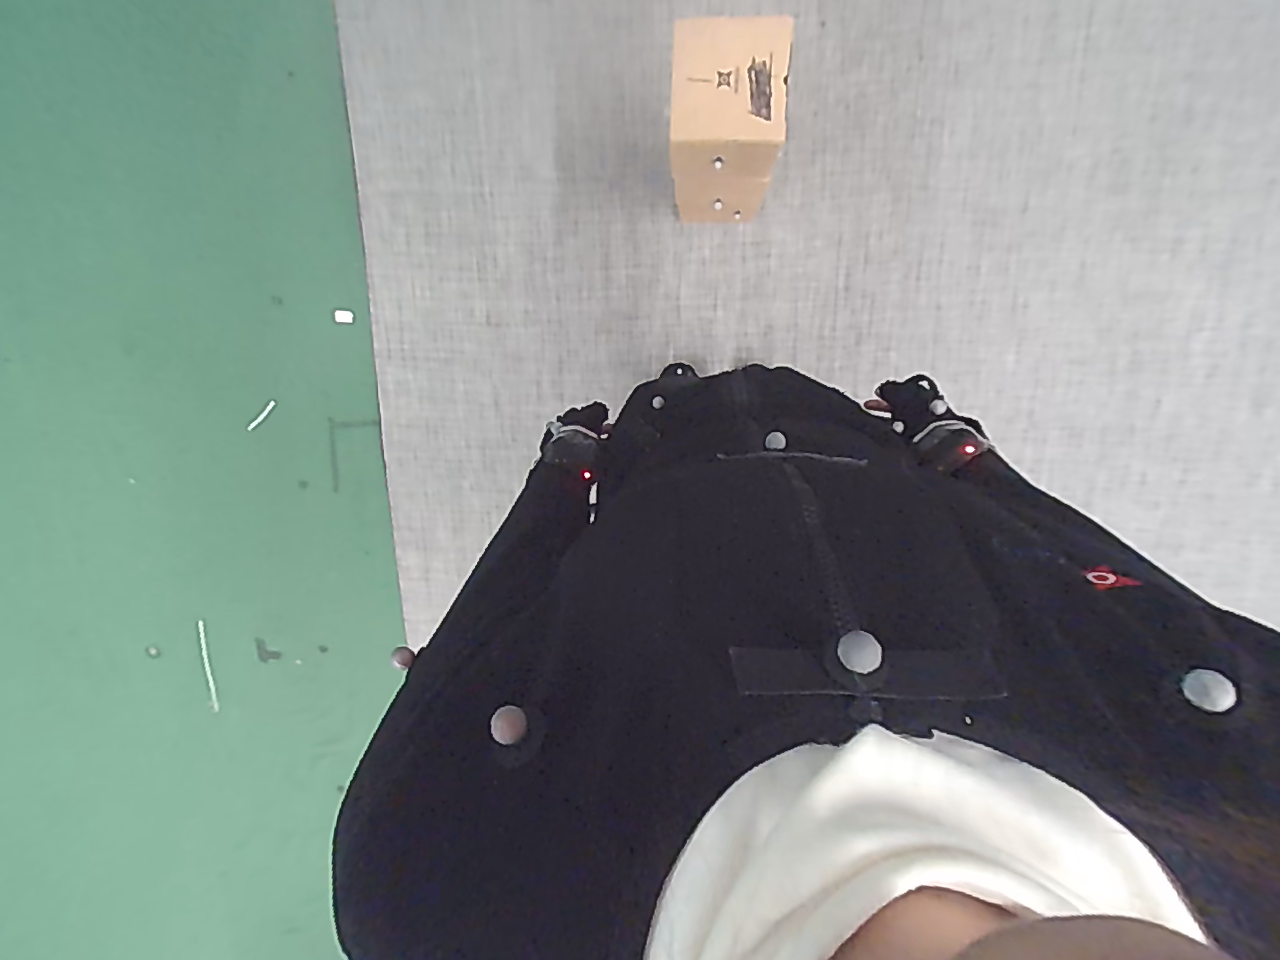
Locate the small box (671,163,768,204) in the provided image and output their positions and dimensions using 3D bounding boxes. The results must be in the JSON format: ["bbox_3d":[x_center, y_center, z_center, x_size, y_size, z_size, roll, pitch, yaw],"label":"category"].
[{"bbox_3d":[0.154,-0.646,1.044,0.179,0.176,0.168,5,103,3],"label":"small box"}]

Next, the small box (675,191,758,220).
[{"bbox_3d":[0.168,-0.688,1.202,0.179,0.176,0.168,2,102,6],"label":"small box"}]

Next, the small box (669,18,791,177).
[{"bbox_3d":[0.137,-0.612,0.884,0.179,0.176,0.168,0,103,3],"label":"small box"}]
